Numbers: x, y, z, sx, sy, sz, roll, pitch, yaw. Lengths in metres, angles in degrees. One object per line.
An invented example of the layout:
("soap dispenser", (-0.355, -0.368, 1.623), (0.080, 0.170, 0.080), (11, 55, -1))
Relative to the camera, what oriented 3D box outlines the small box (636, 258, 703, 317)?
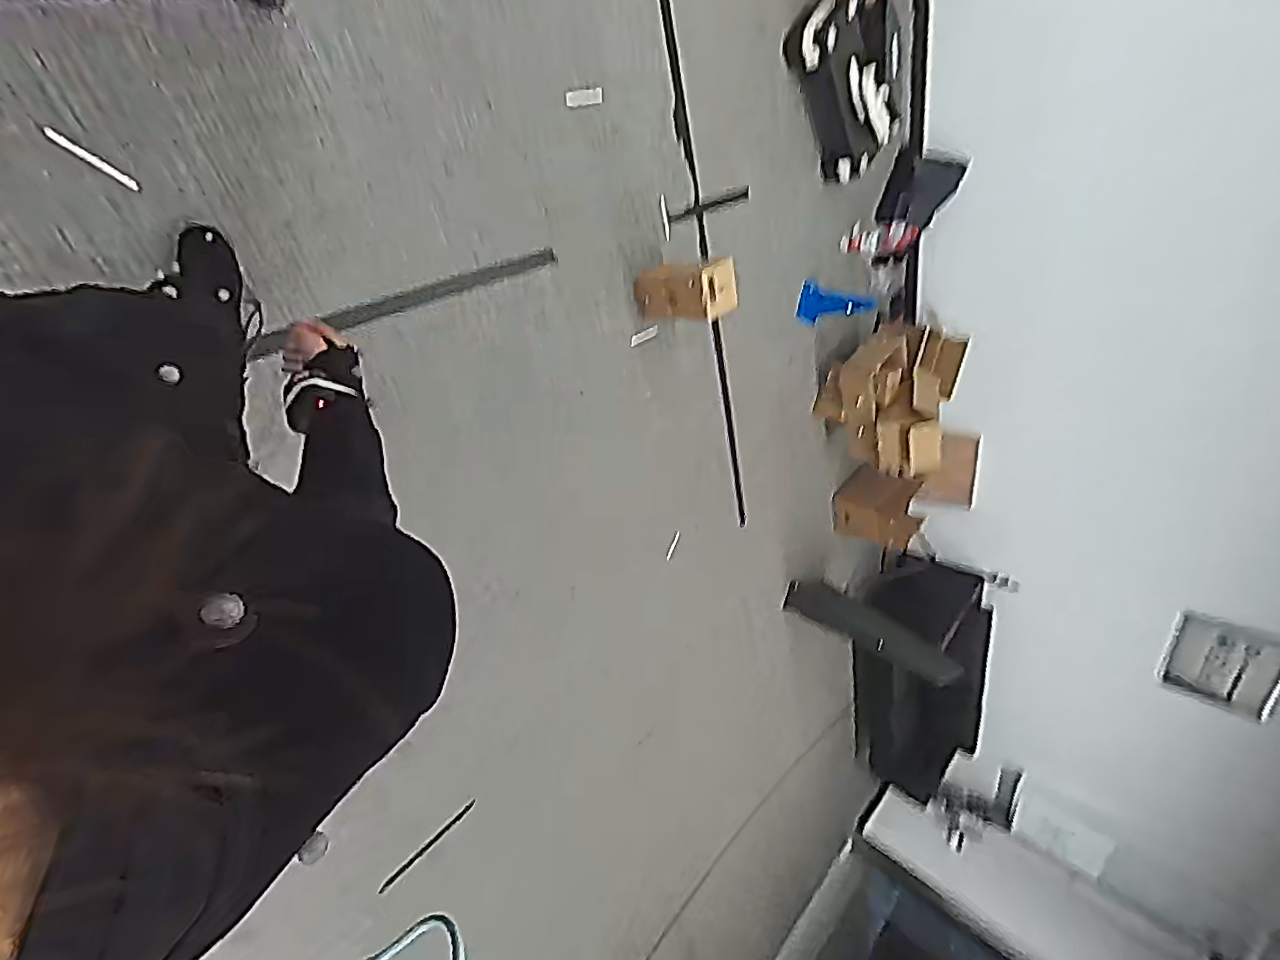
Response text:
("small box", (0.113, -0.739, 2.066), (0.179, 0.176, 0.168), (-37, 127, -28))
